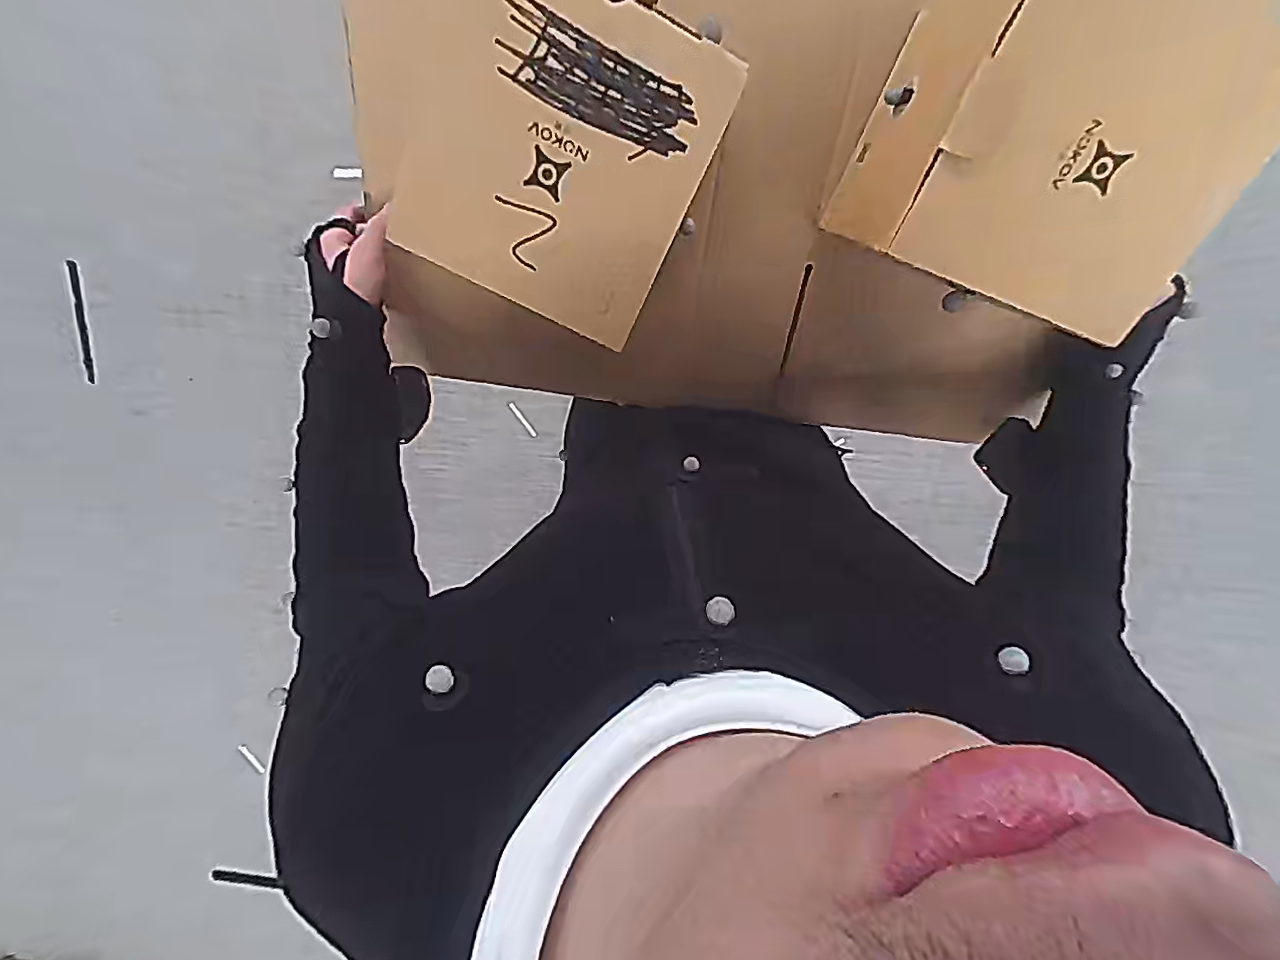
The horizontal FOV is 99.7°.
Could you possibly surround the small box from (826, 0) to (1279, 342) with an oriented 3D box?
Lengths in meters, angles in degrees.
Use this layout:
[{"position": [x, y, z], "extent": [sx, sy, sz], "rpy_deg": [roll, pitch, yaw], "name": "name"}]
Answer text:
[{"position": [0.266, -0.227, 0.393], "extent": [0.179, 0.176, 0.168], "rpy_deg": [18, 120, -7], "name": "small box"}]
